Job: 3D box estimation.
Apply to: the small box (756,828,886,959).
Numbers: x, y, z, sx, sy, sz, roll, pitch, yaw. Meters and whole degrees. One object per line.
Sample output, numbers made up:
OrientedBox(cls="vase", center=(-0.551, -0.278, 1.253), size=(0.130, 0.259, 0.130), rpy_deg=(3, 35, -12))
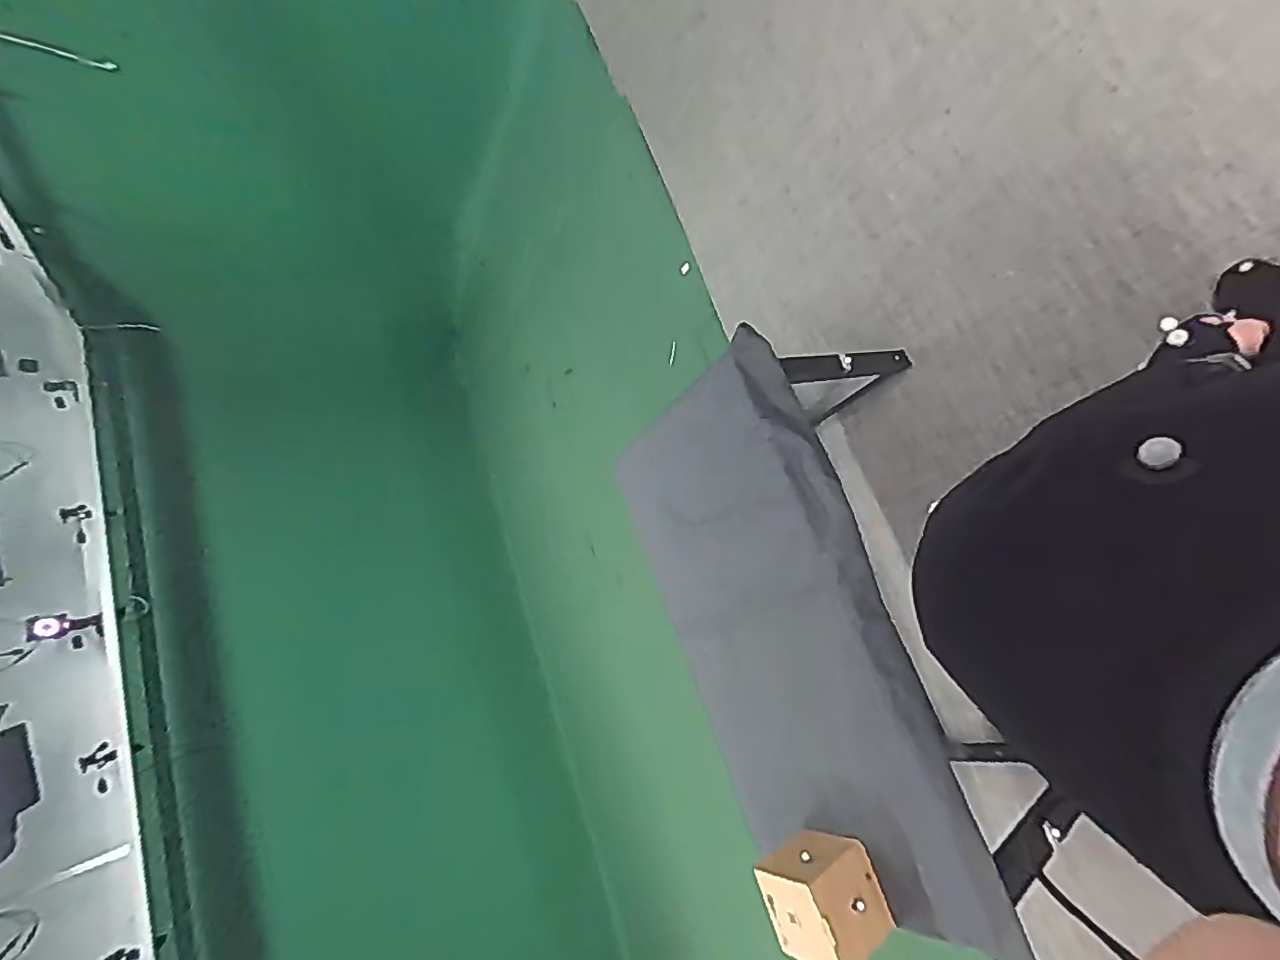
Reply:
OrientedBox(cls="small box", center=(0.382, 0.860, 1.130), size=(0.179, 0.176, 0.168), rpy_deg=(-40, 65, 52))
